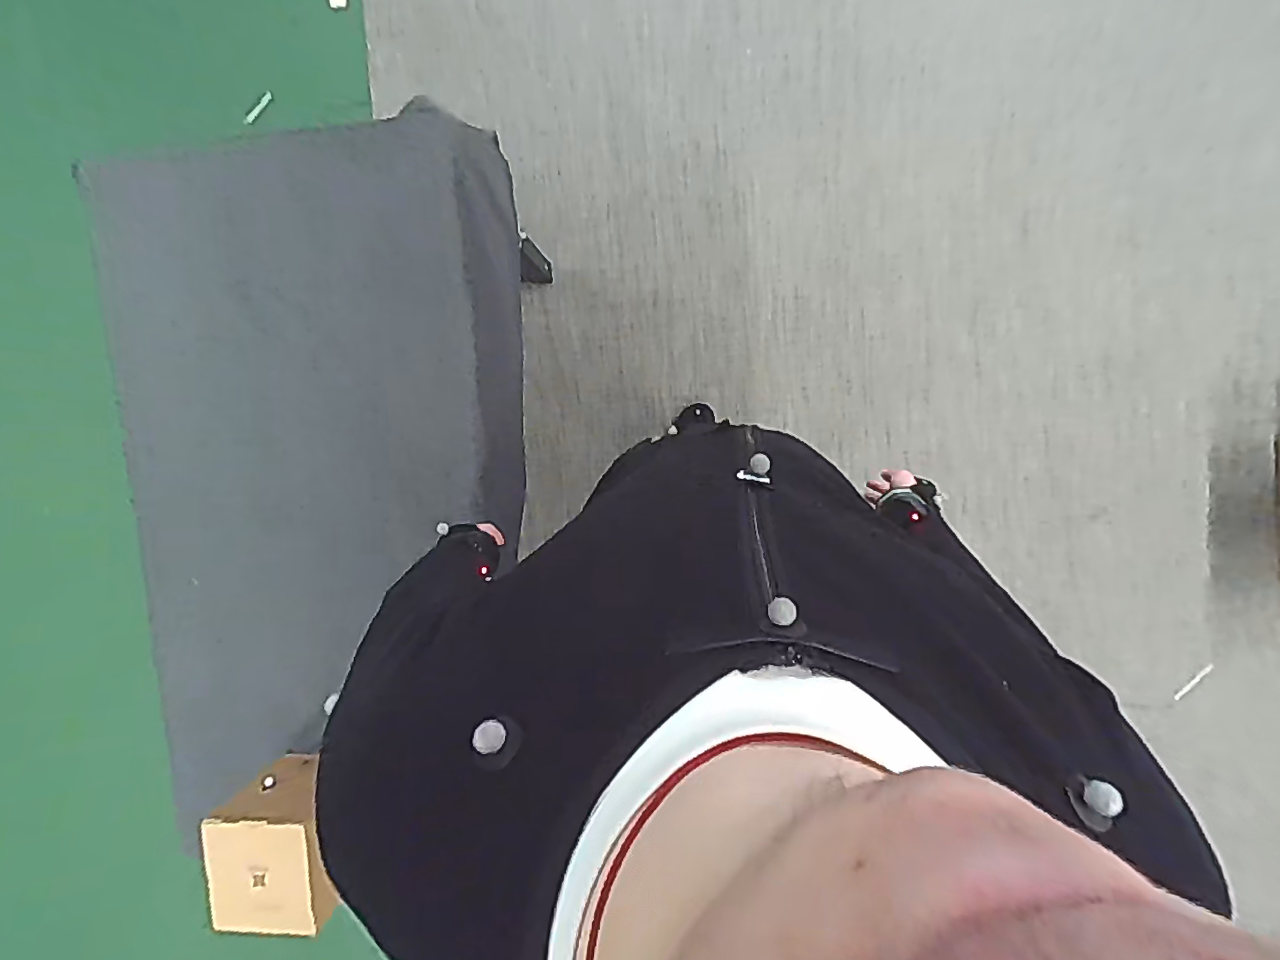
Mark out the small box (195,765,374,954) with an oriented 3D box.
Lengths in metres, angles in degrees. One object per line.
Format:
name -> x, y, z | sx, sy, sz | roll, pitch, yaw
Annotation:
small box -> -0.540, 0.575, 0.842 | 0.168, 0.176, 0.179 | 0, 95, 7
